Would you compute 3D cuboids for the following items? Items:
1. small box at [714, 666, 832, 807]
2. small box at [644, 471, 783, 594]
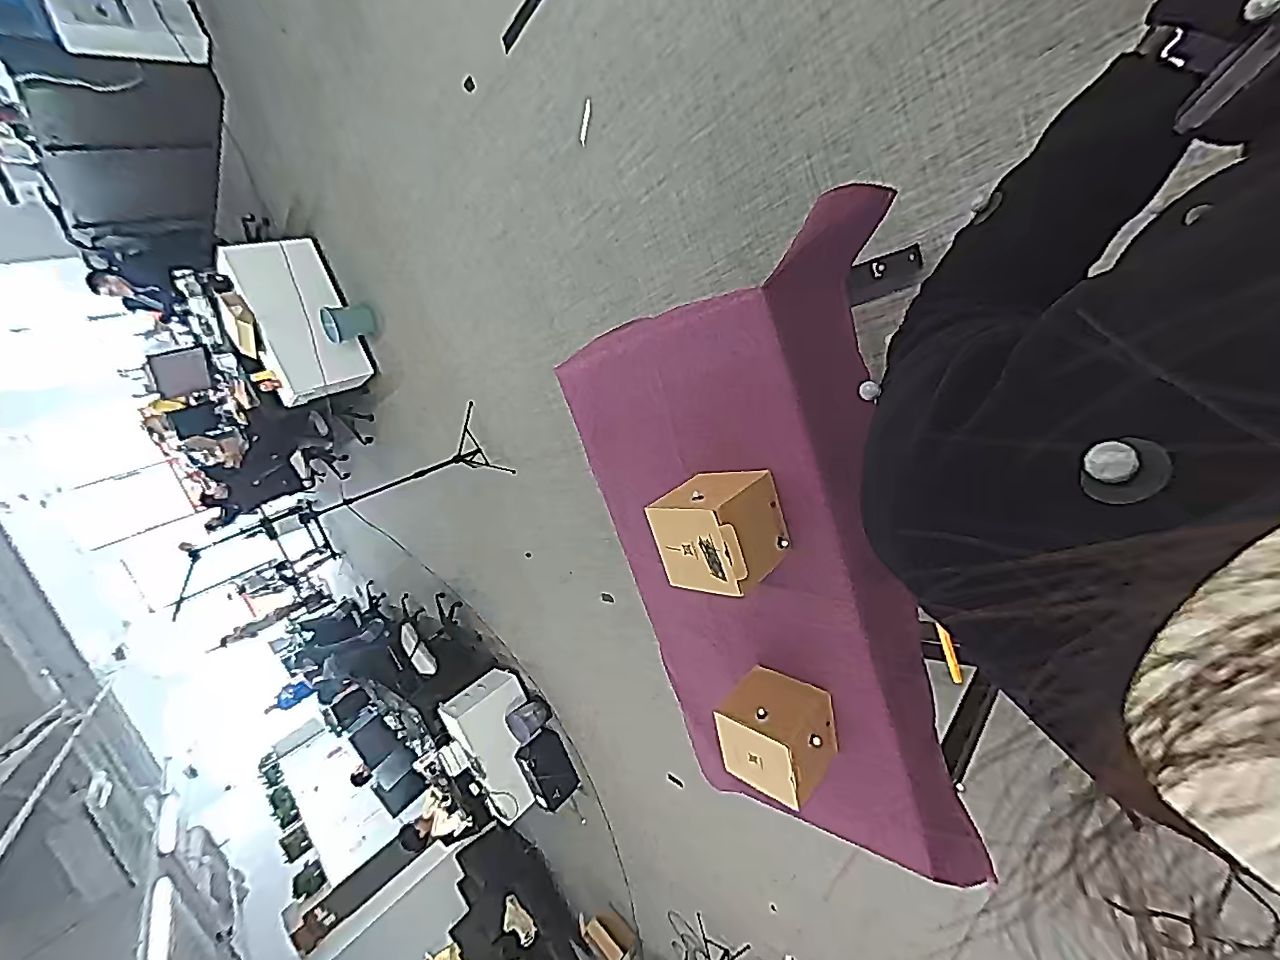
[{"bbox_3d":[0.282,0.516,1.117,0.179,0.176,0.168,8,118,45],"label":"small box"},{"bbox_3d":[0.144,0.088,0.997,0.179,0.176,0.168,-2,111,49],"label":"small box"}]
